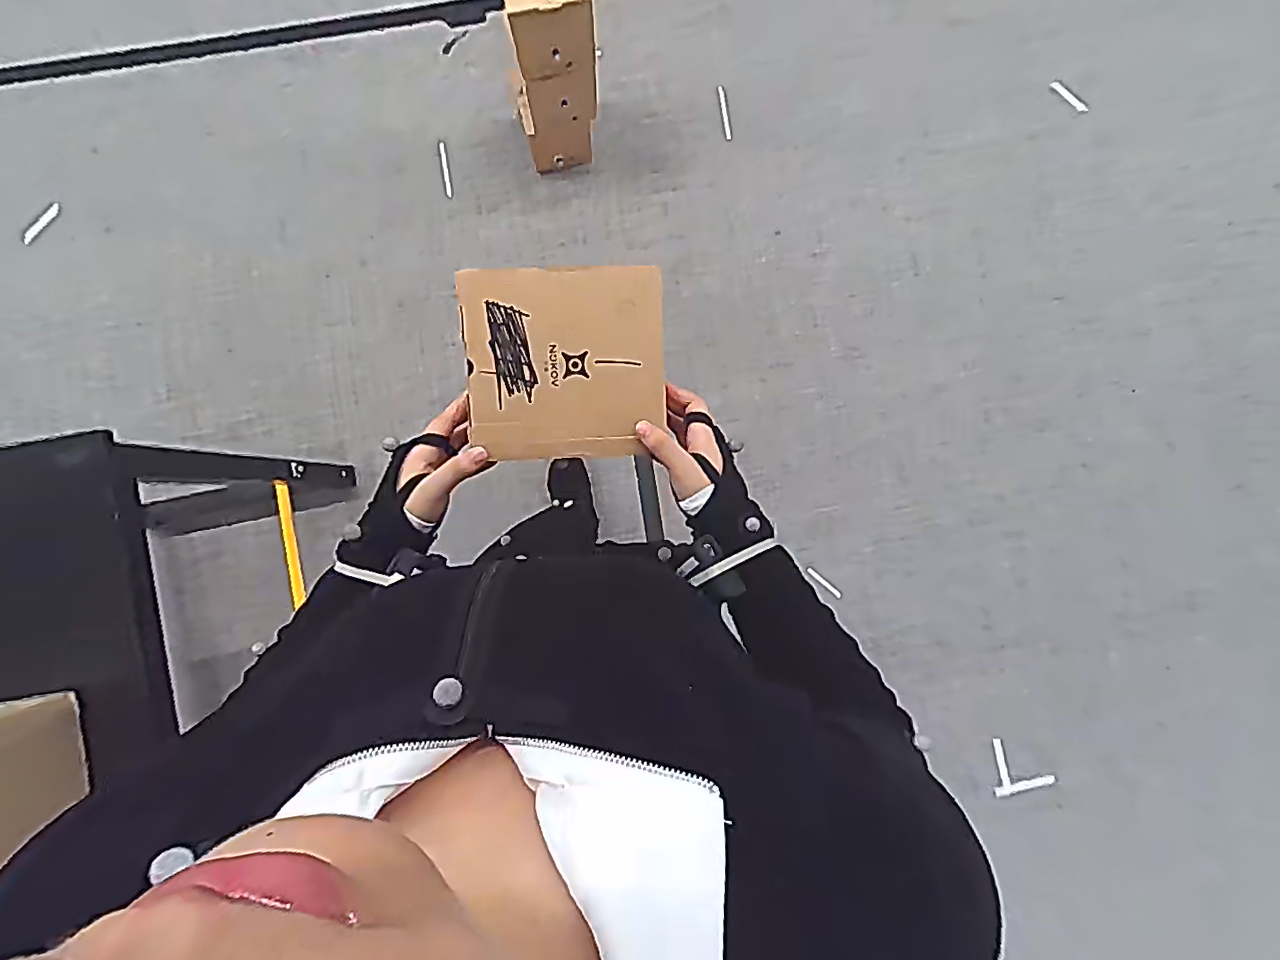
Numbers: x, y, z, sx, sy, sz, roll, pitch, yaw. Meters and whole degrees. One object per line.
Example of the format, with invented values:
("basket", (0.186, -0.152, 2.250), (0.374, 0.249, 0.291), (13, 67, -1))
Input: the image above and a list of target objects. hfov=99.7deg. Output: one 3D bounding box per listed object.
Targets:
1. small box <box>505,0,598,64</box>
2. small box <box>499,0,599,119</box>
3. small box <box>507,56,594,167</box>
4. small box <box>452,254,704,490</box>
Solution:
("small box", (-0.177, -0.943, 1.020), (0.168, 0.176, 0.179), (-13, 89, -2))
("small box", (-0.191, -0.933, 1.185), (0.168, 0.176, 0.179), (-18, 90, -2))
("small box", (-0.216, -0.927, 1.348), (0.168, 0.176, 0.179), (-17, 91, -2))
("small box", (-0.046, -0.085, 0.466), (0.179, 0.176, 0.168), (-3, 98, -4))
